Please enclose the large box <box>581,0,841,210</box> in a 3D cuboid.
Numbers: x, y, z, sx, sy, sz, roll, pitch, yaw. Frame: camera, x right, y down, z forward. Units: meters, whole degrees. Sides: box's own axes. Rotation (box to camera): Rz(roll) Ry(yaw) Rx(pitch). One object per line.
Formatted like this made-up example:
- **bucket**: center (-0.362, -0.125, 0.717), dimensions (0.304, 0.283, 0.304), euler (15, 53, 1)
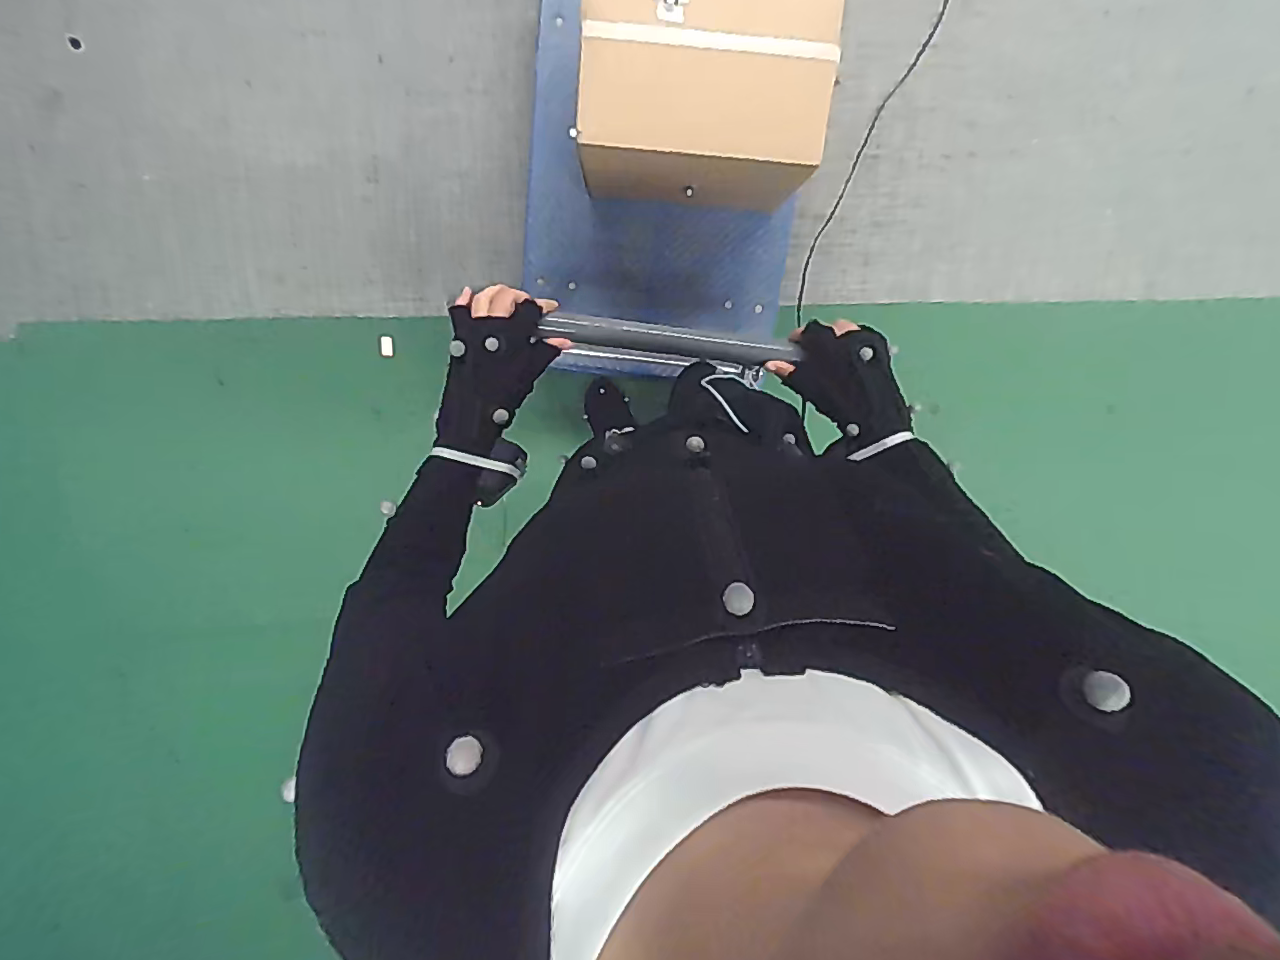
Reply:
- **large box**: center (0.112, -0.708, 0.997), dimensions (0.408, 0.320, 0.320), euler (4, 102, -1)
